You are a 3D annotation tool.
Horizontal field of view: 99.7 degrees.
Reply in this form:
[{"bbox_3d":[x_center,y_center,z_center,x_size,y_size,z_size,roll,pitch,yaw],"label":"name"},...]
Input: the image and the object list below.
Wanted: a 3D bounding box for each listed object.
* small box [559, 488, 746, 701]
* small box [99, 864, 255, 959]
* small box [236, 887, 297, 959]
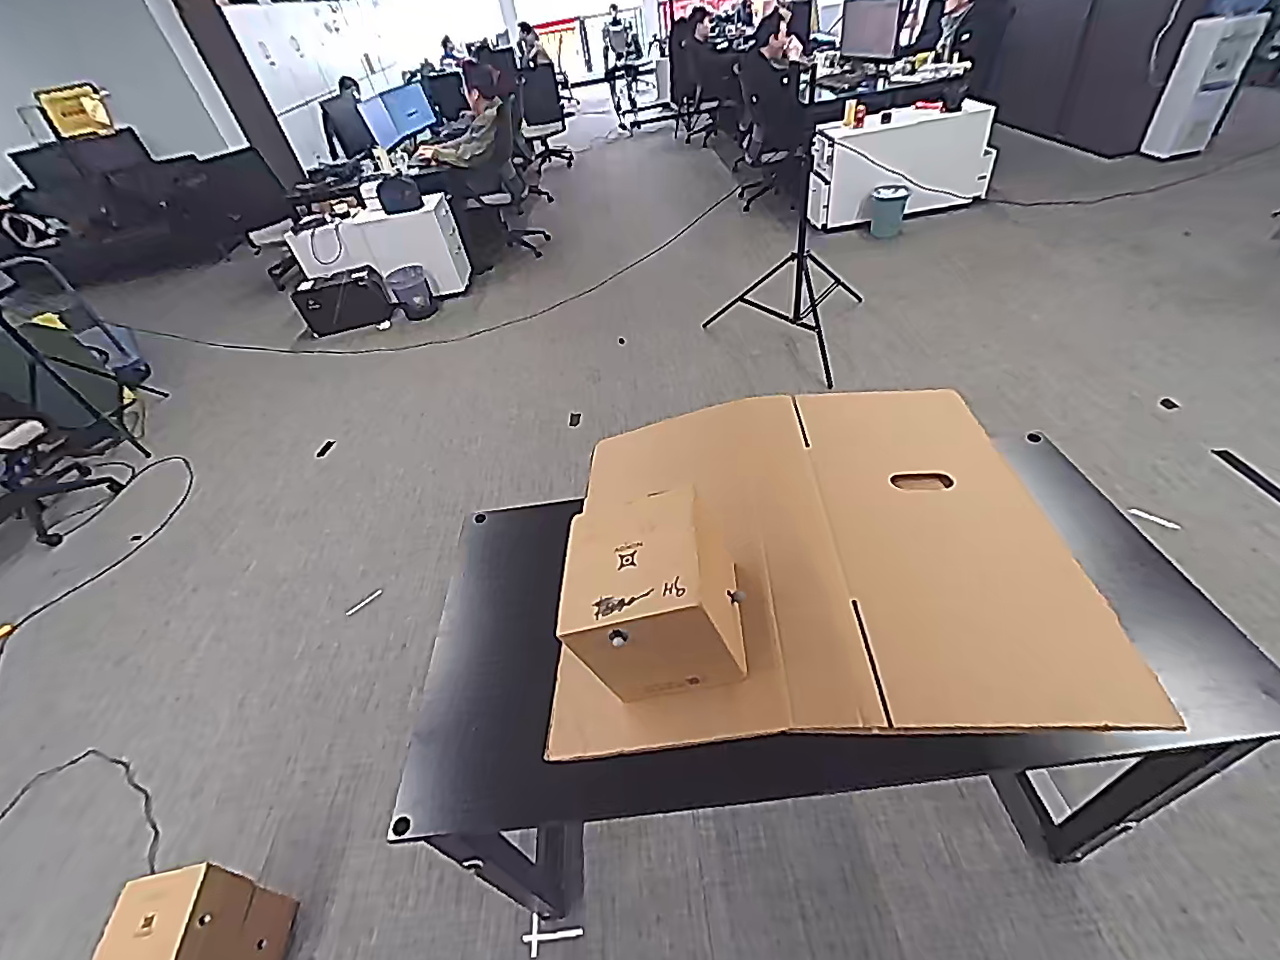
[{"bbox_3d":[0.023,0.143,0.666,0.168,0.176,0.179,-17,39,17],"label":"small box"},{"bbox_3d":[-0.930,0.920,1.097,0.168,0.176,0.179,-12,41,-3],"label":"small box"},{"bbox_3d":[-0.905,1.042,1.201,0.168,0.176,0.179,-11,42,0],"label":"small box"}]
